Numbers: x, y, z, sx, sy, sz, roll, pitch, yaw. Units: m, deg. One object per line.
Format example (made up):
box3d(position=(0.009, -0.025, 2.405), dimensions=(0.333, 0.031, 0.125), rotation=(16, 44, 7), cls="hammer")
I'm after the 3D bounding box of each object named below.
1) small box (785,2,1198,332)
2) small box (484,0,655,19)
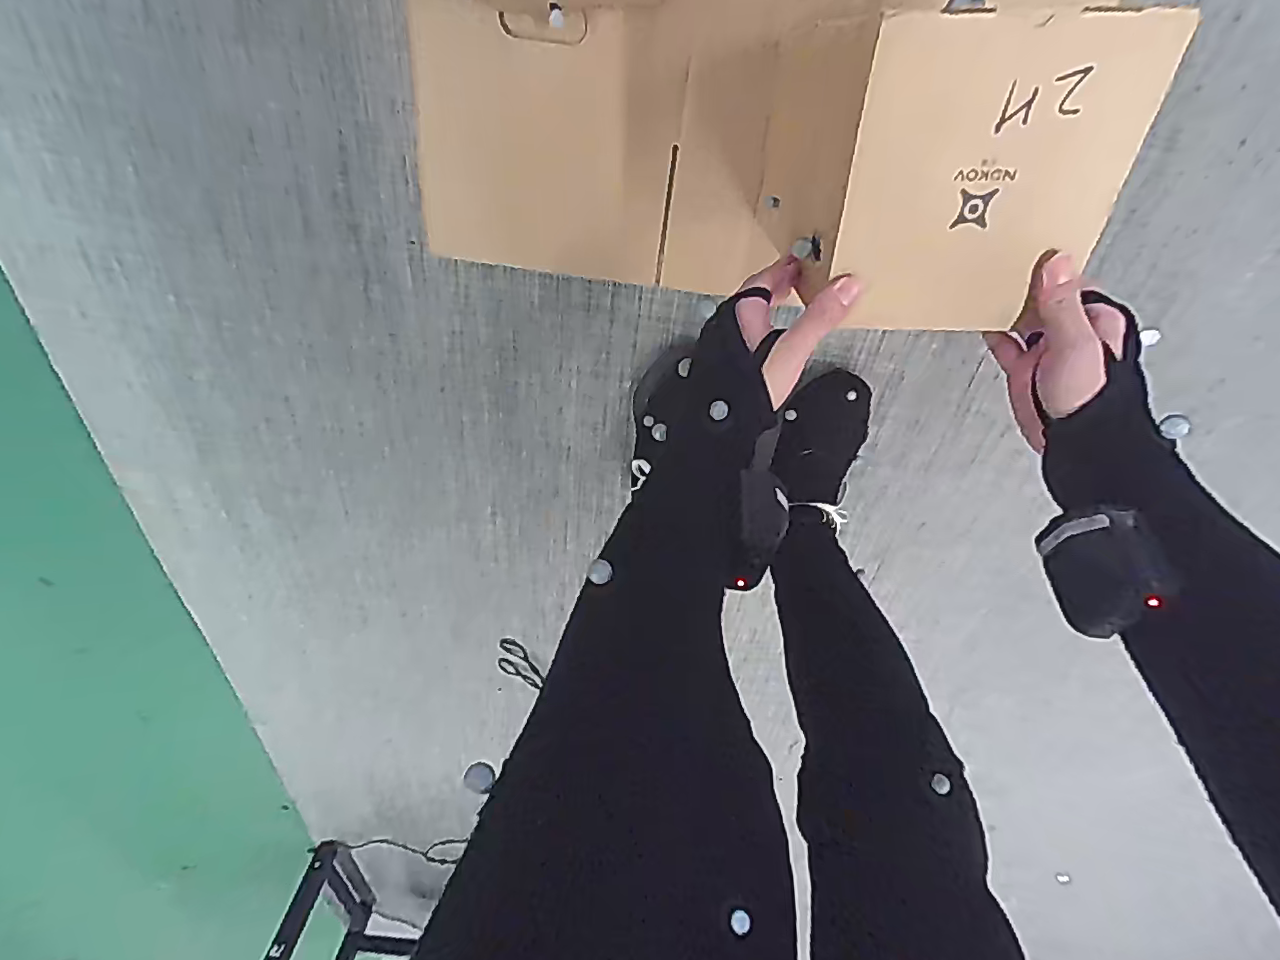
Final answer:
box3d(position=(0.209, -0.222, 0.392), dimensions=(0.168, 0.176, 0.179), rotation=(1, 125, 2), cls="small box")
box3d(position=(-0.070, -0.493, 0.428), dimensions=(0.168, 0.176, 0.179), rotation=(1, 124, 3), cls="small box")
